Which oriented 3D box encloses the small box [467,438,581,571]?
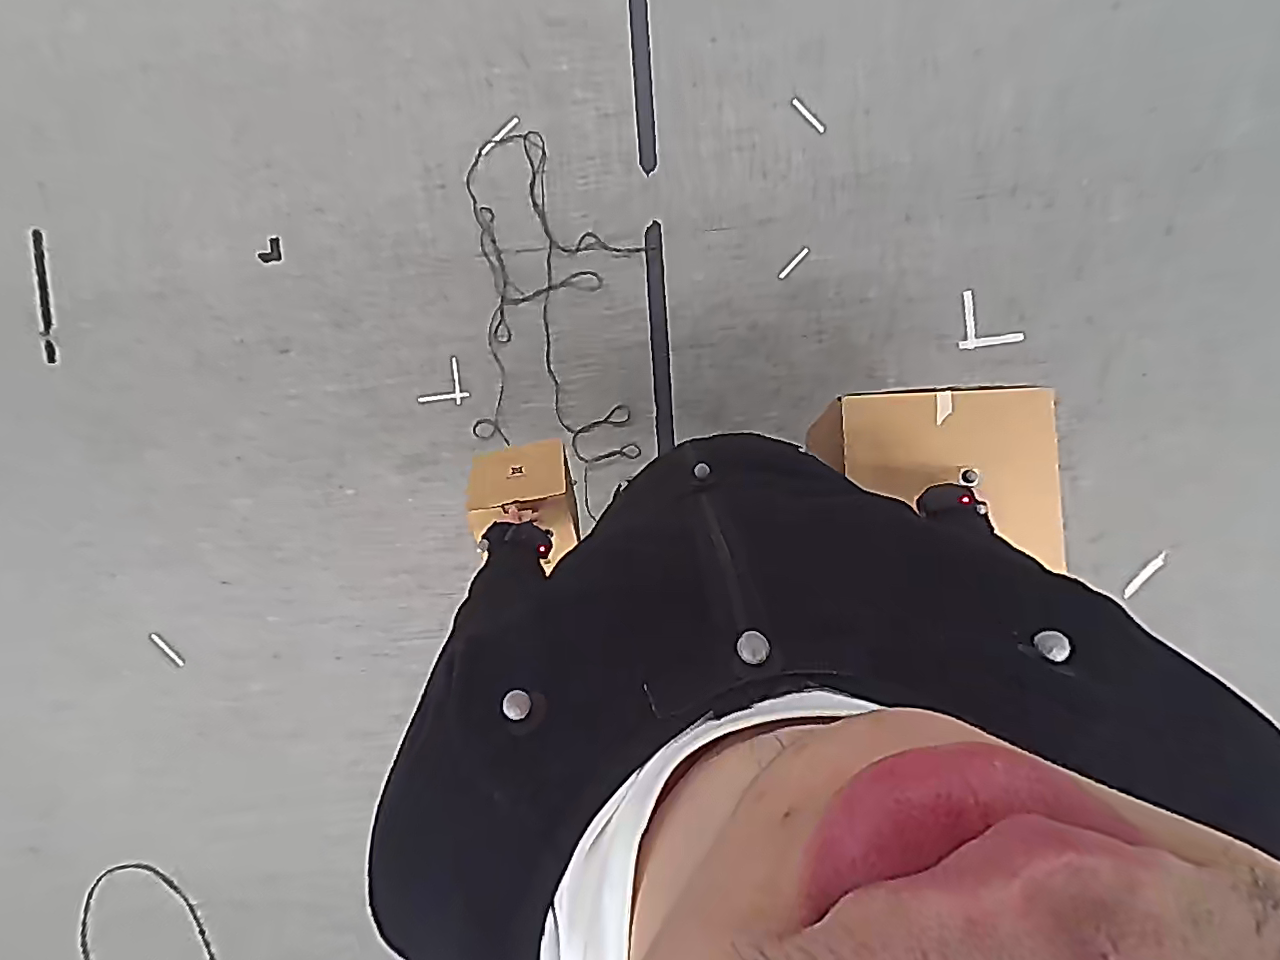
[{"bbox_3d":[-0.205,0.050,0.992,0.168,0.179,0.176,-9,127,-4],"label":"small box"}]
